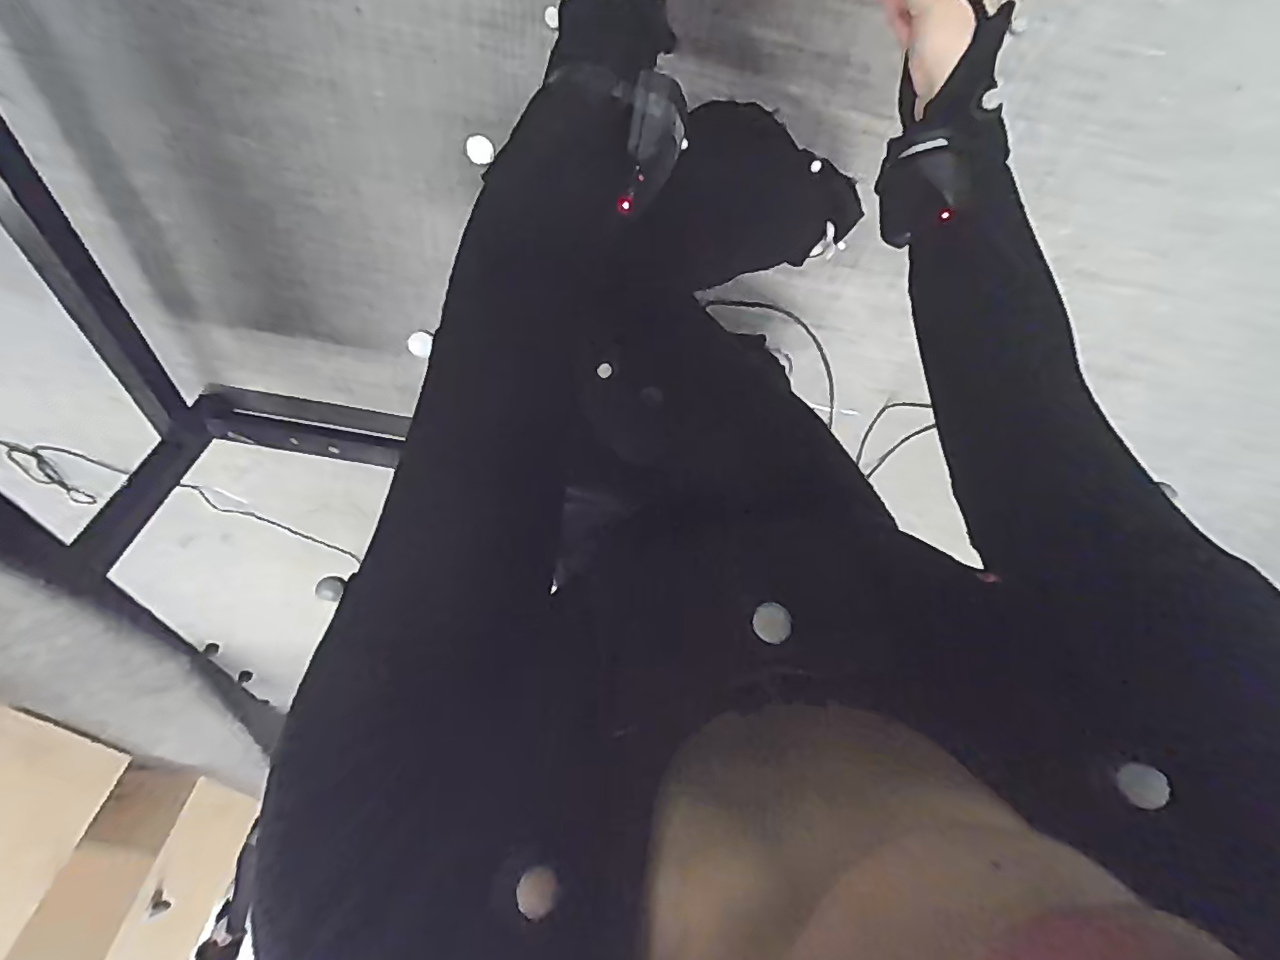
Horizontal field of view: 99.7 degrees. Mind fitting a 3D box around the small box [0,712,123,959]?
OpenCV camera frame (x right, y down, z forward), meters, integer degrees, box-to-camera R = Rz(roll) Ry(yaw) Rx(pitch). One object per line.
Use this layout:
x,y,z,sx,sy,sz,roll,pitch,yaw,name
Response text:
-0.485,0.223,0.321,0.168,0.176,0.179,15,141,-7,small box
